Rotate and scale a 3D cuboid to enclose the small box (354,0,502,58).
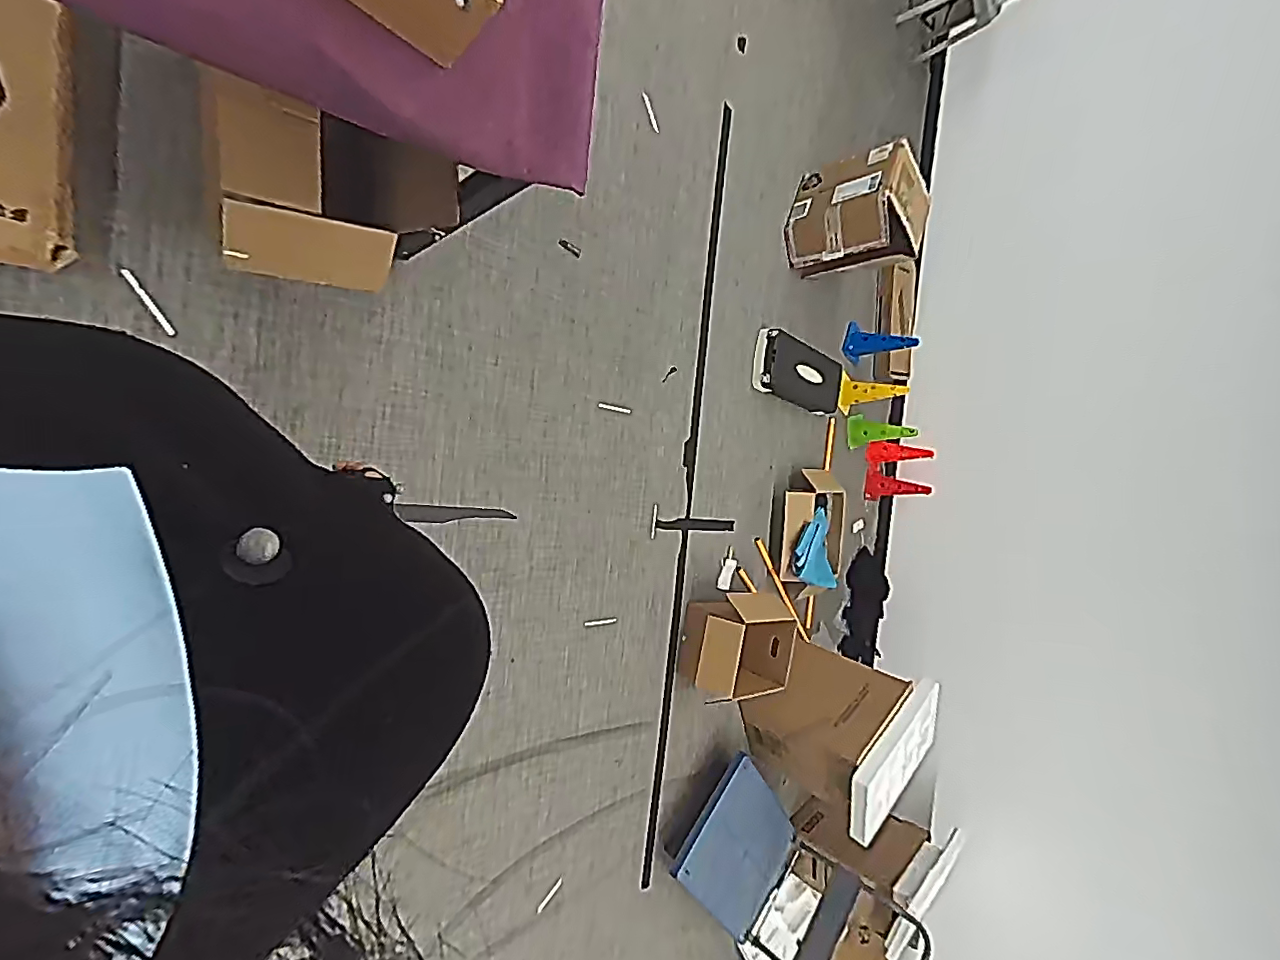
[{"bbox_3d":[-0.266,-0.667,0.649,0.179,0.176,0.168,12,87,-44],"label":"small box"}]
